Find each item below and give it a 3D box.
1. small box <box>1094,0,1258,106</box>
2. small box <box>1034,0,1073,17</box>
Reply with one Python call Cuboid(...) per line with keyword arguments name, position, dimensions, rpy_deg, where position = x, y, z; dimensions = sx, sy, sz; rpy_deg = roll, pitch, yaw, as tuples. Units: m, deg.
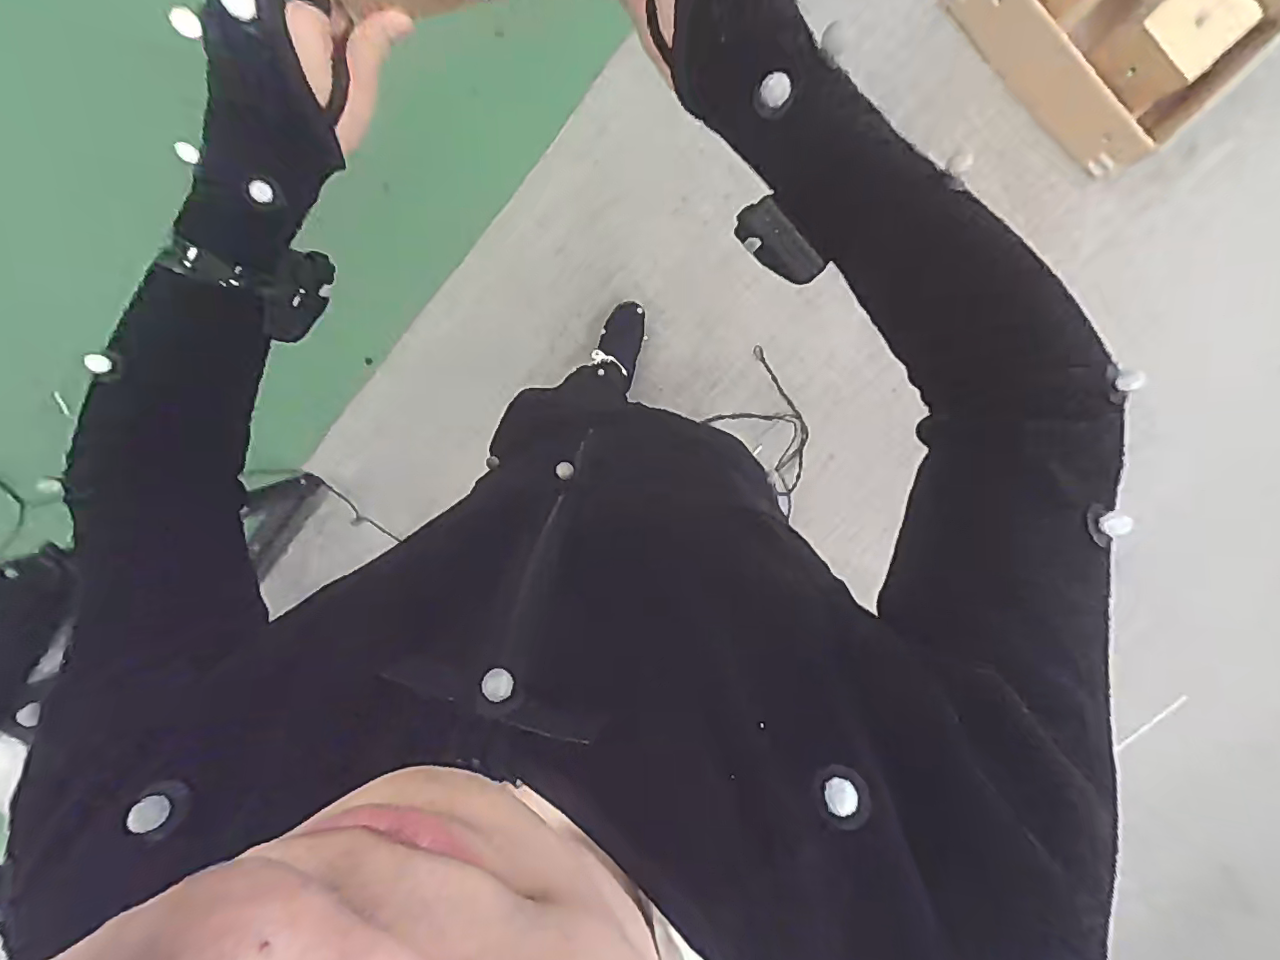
Cuboid(name="small box", position=(1.181, -0.998, 1.215), dimensions=(0.168, 0.176, 0.179), rpy_deg=(44, 101, -6))
Cuboid(name="small box", position=(0.972, -1.190, 1.186), dimensions=(0.168, 0.176, 0.179), rpy_deg=(43, 100, -7))
